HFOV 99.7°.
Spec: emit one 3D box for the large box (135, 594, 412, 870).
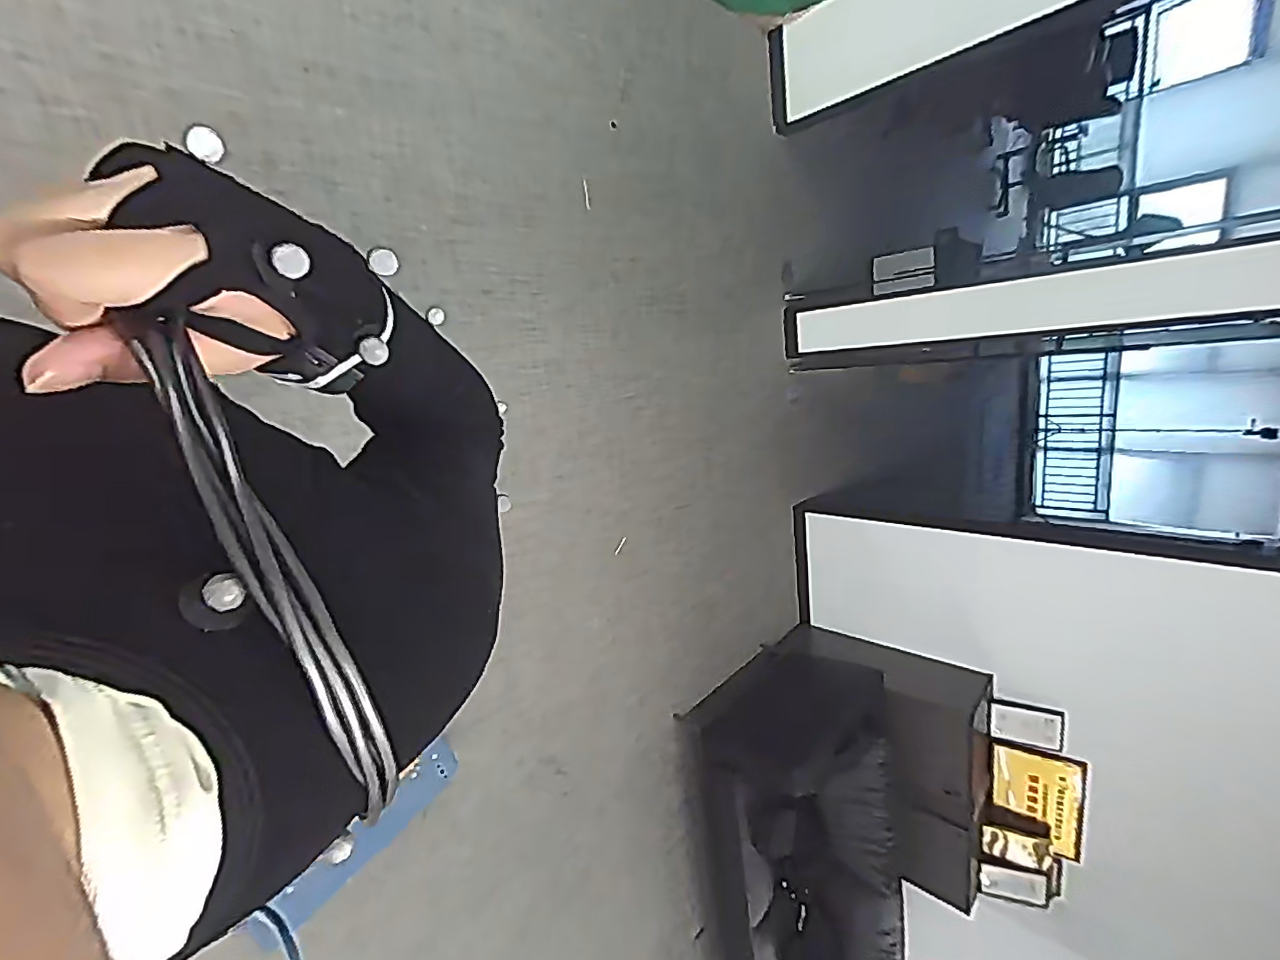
[{"bbox_3d":[-0.793,0.526,1.192,0.320,0.320,0.408,-37,121,-38],"label":"large box"}]
